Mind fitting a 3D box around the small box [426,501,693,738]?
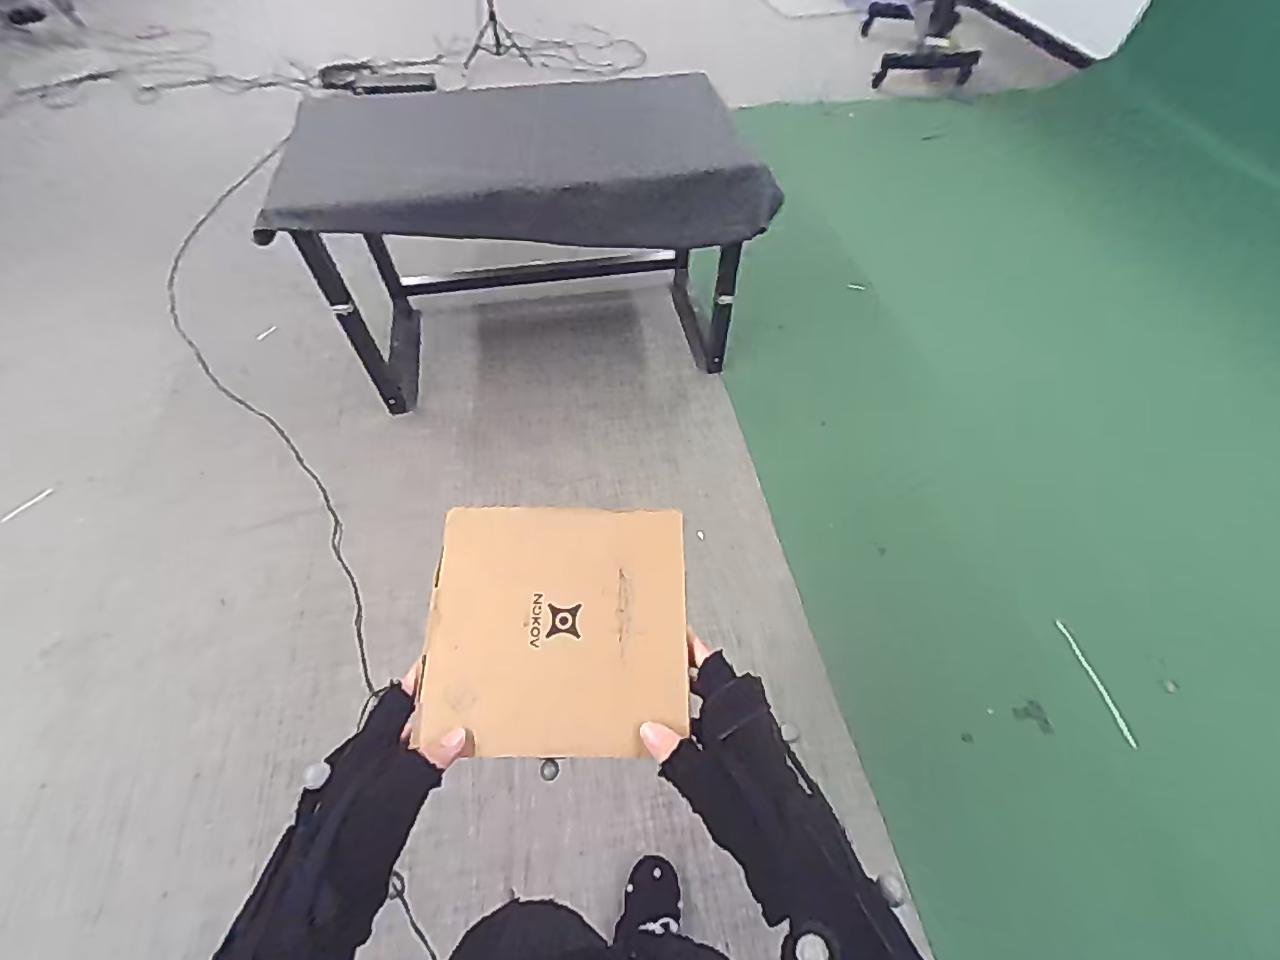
[{"bbox_3d":[-0.055,0.125,0.454,0.179,0.176,0.168,0,66,-3],"label":"small box"}]
